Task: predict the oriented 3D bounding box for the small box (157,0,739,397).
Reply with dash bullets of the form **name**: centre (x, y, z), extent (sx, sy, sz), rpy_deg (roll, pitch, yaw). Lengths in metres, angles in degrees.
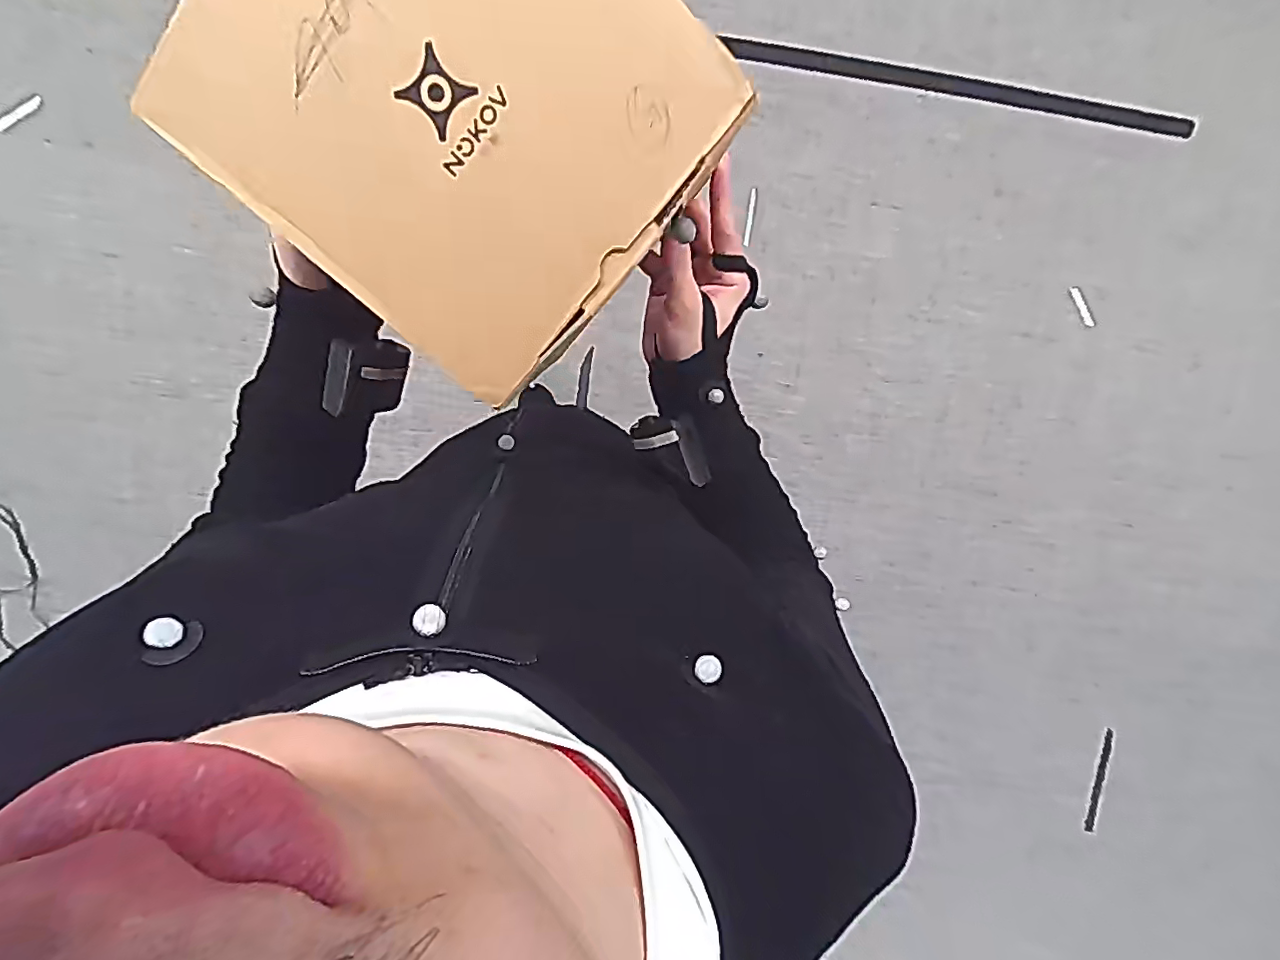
- **small box**: centre (-0.076, -0.174, 0.291), extent (0.179, 0.176, 0.168), rpy_deg (41, 104, -13)
